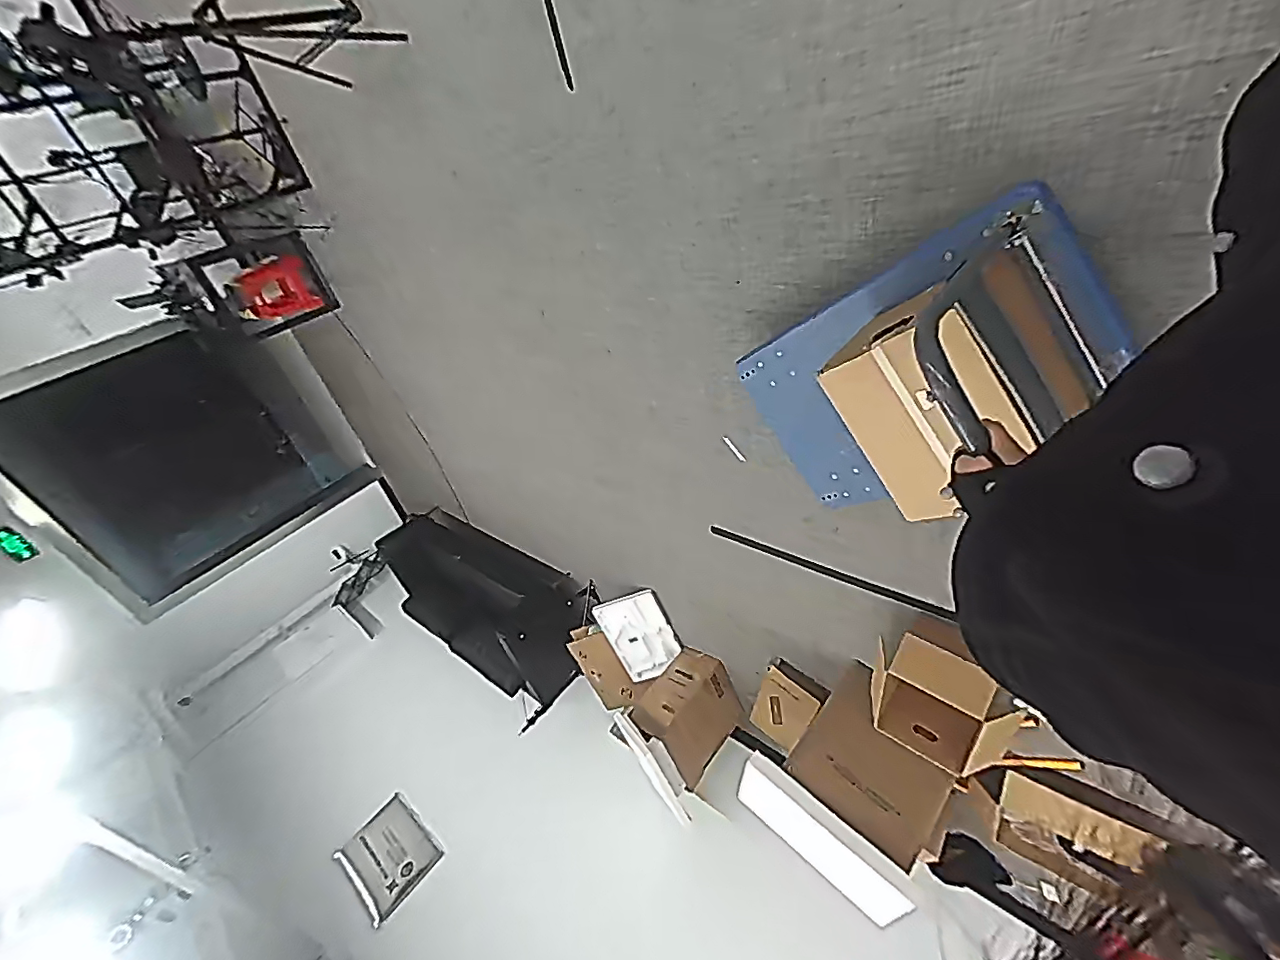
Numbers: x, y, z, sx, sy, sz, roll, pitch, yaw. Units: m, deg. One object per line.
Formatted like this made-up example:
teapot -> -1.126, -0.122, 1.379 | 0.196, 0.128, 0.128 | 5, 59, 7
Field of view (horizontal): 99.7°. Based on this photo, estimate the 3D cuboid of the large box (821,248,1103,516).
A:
large box -> 0.677, -0.191, 1.142 | 0.408, 0.320, 0.320 | 55, 147, -7
